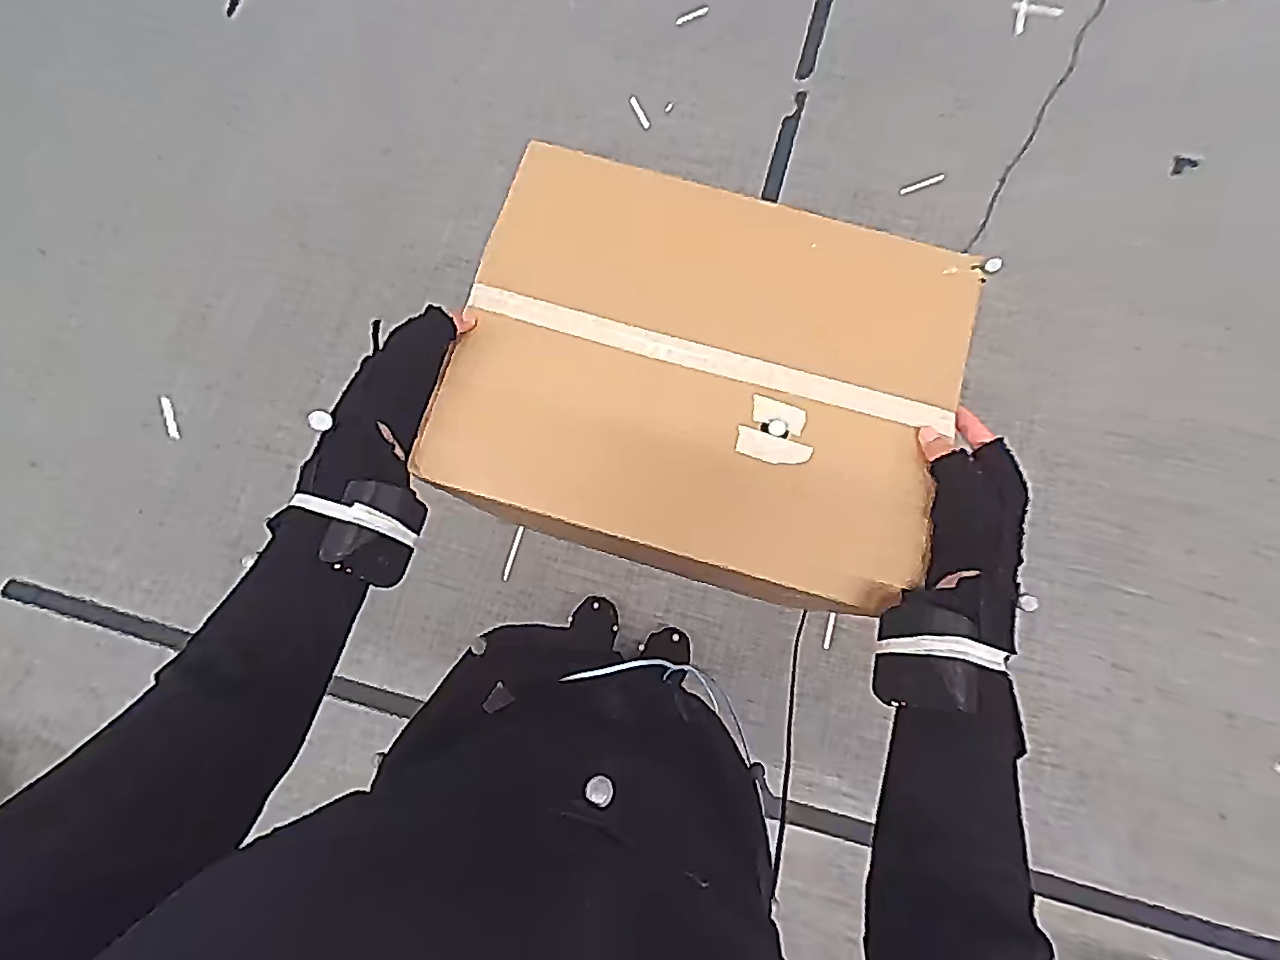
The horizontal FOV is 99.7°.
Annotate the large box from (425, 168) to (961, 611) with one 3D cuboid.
[{"bbox_3d":[0.050,-0.061,0.600,0.408,0.320,0.320,16,80,1],"label":"large box"}]
